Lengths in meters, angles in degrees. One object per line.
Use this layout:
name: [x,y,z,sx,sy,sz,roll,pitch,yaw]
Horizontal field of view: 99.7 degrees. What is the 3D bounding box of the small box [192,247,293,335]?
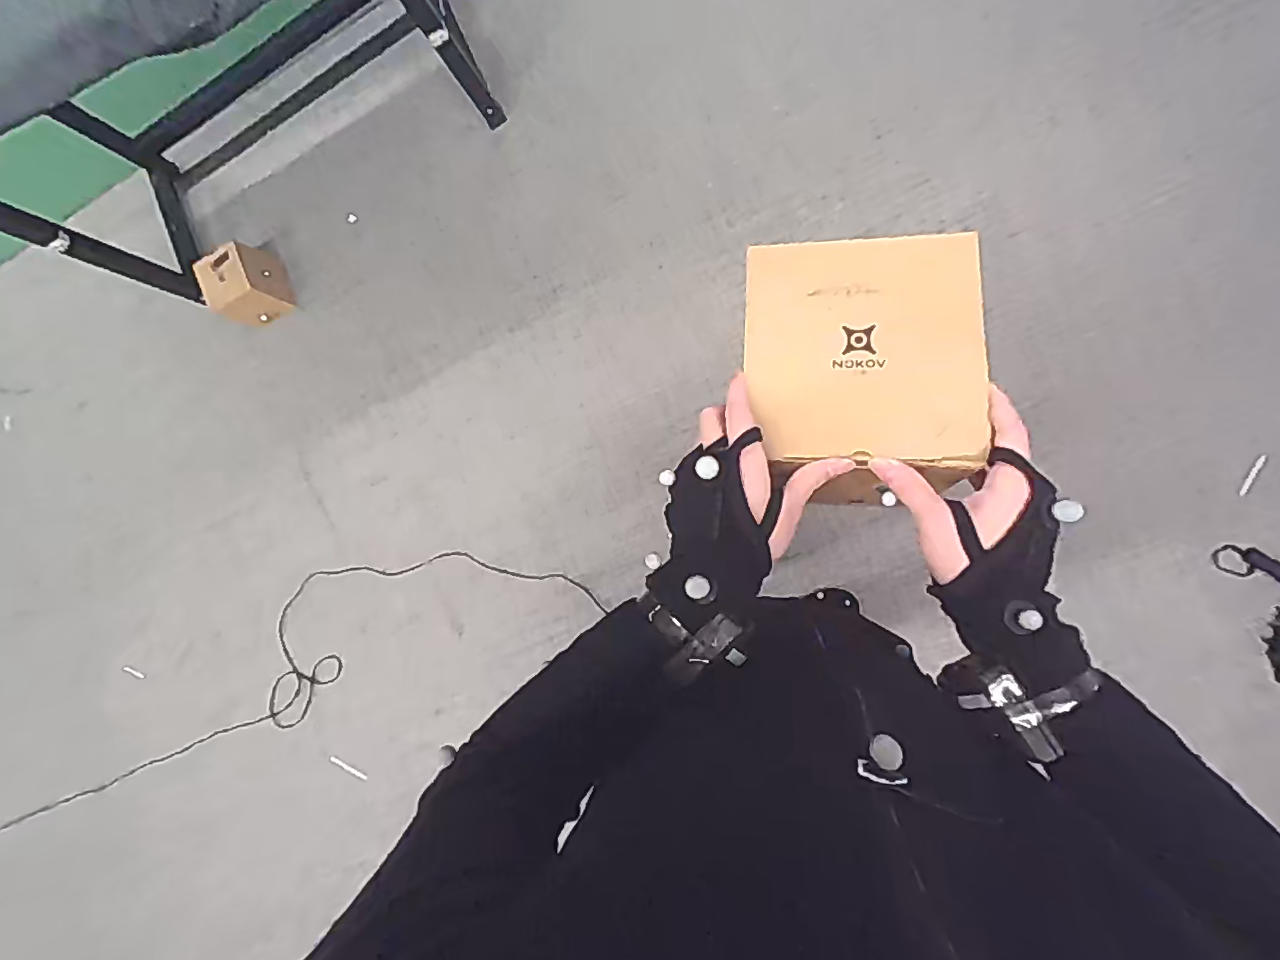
small box: [-1.240,-0.584,1.697,0.168,0.176,0.179,-26,83,11]
